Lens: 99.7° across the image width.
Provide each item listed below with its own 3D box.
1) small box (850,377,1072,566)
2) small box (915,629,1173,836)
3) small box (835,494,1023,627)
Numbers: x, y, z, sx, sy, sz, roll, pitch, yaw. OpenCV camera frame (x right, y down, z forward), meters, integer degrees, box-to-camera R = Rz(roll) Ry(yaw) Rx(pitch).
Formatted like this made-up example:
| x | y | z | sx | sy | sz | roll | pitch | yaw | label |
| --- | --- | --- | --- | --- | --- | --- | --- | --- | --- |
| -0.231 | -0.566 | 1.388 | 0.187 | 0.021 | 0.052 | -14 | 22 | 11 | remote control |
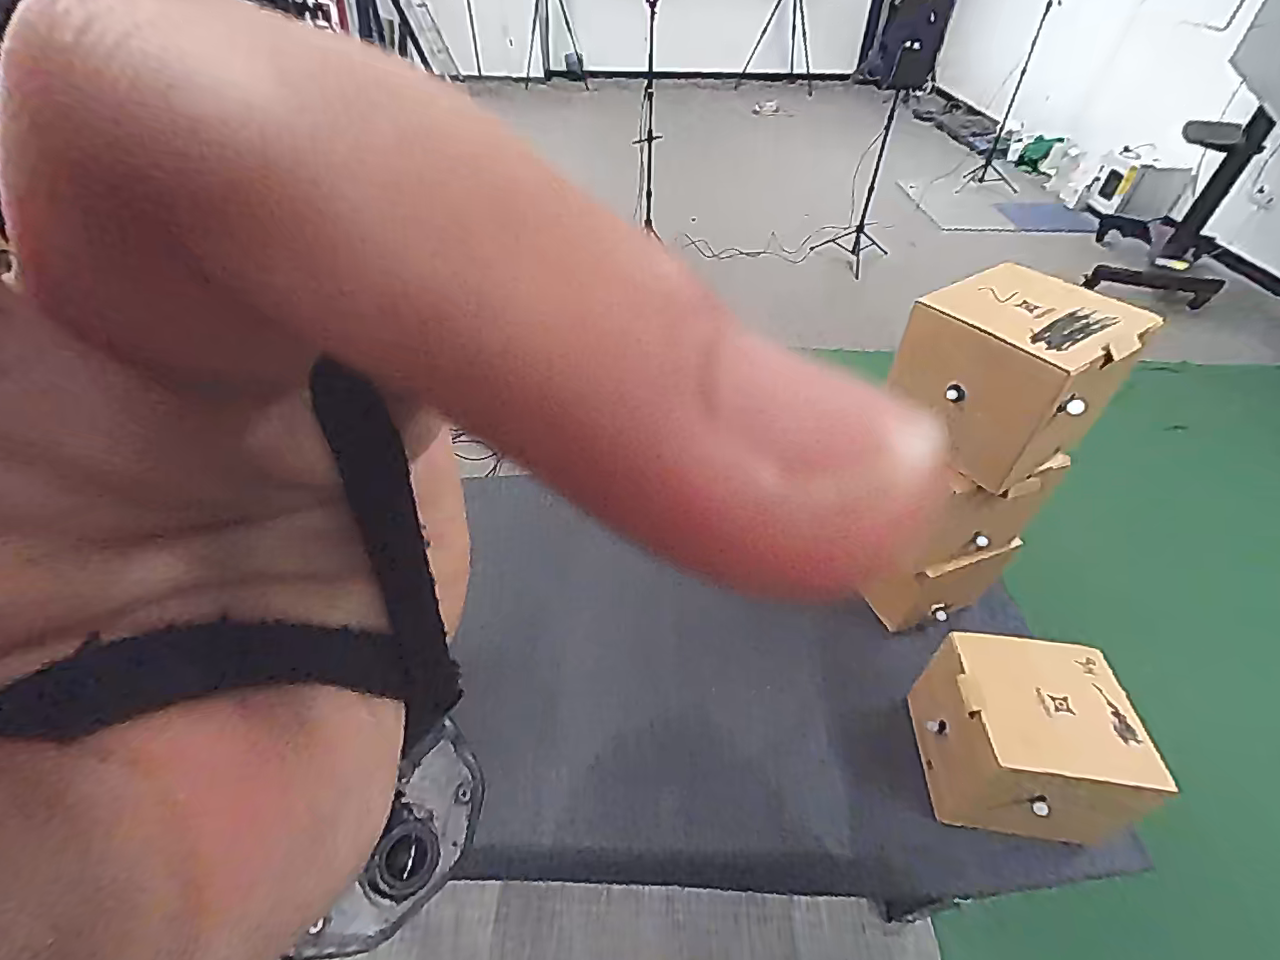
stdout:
| x | y | z | sx | sy | sz | roll | pitch | yaw | label |
| --- | --- | --- | --- | --- | --- | --- | --- | --- | --- |
| 0.415 | -0.012 | 0.740 | 0.168 | 0.176 | 0.179 | -13 | 47 | -9 | small box |
| 0.456 | 0.305 | 0.654 | 0.179 | 0.176 | 0.168 | 5 | 42 | 6 | small box |
| 0.439 | 0.102 | 0.859 | 0.168 | 0.176 | 0.179 | -16 | 50 | -12 | small box |
